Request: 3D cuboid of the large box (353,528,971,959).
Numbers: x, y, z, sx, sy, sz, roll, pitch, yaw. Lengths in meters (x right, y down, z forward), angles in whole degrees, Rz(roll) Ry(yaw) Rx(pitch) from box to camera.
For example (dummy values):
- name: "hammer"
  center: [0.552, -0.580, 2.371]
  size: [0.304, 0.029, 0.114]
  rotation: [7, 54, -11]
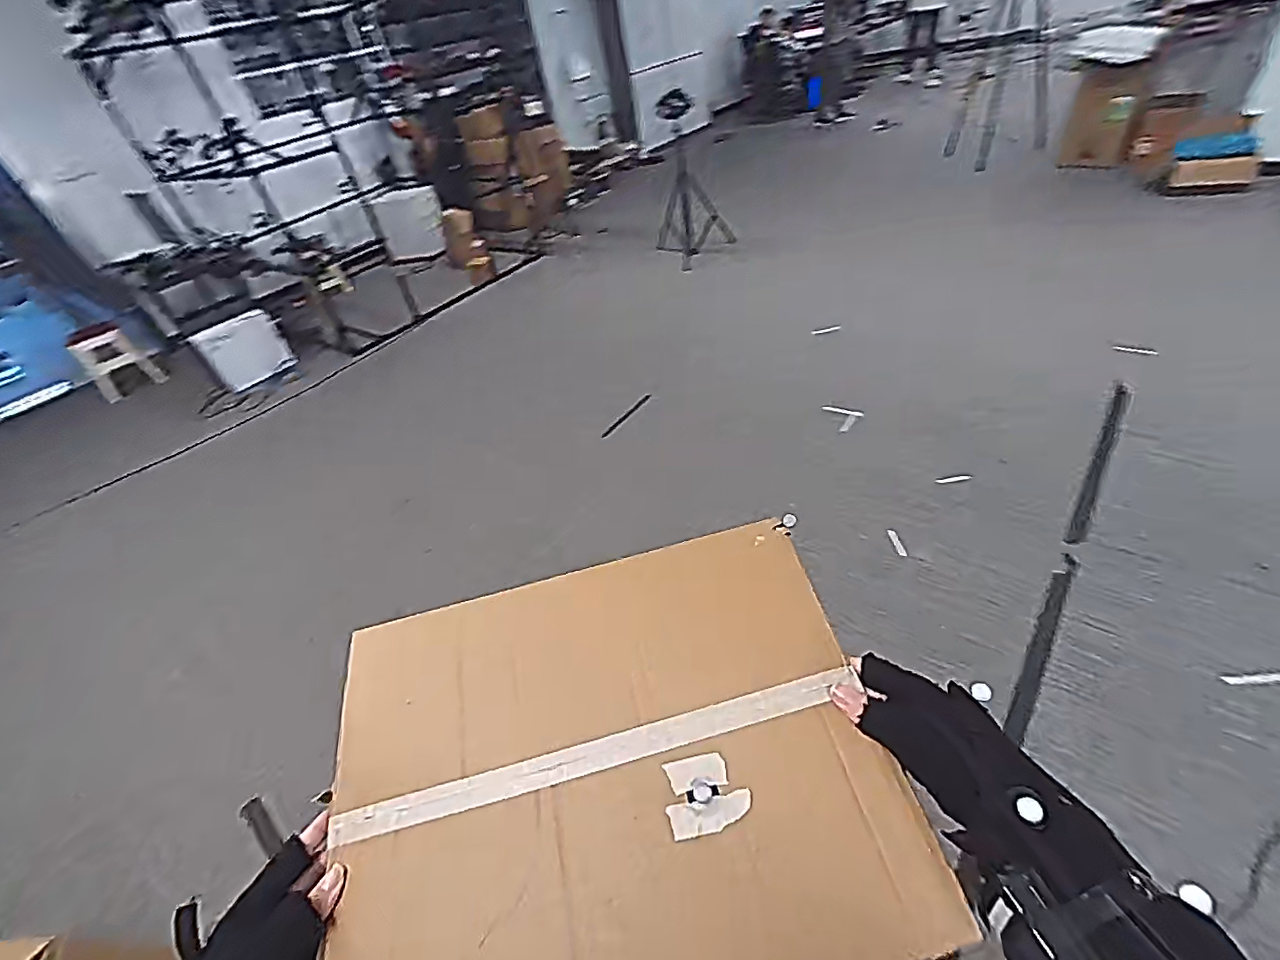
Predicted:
- name: "large box"
  center: [0.000, 0.301, 0.532]
  size: [0.408, 0.320, 0.320]
  rotation: [-14, 53, -3]
